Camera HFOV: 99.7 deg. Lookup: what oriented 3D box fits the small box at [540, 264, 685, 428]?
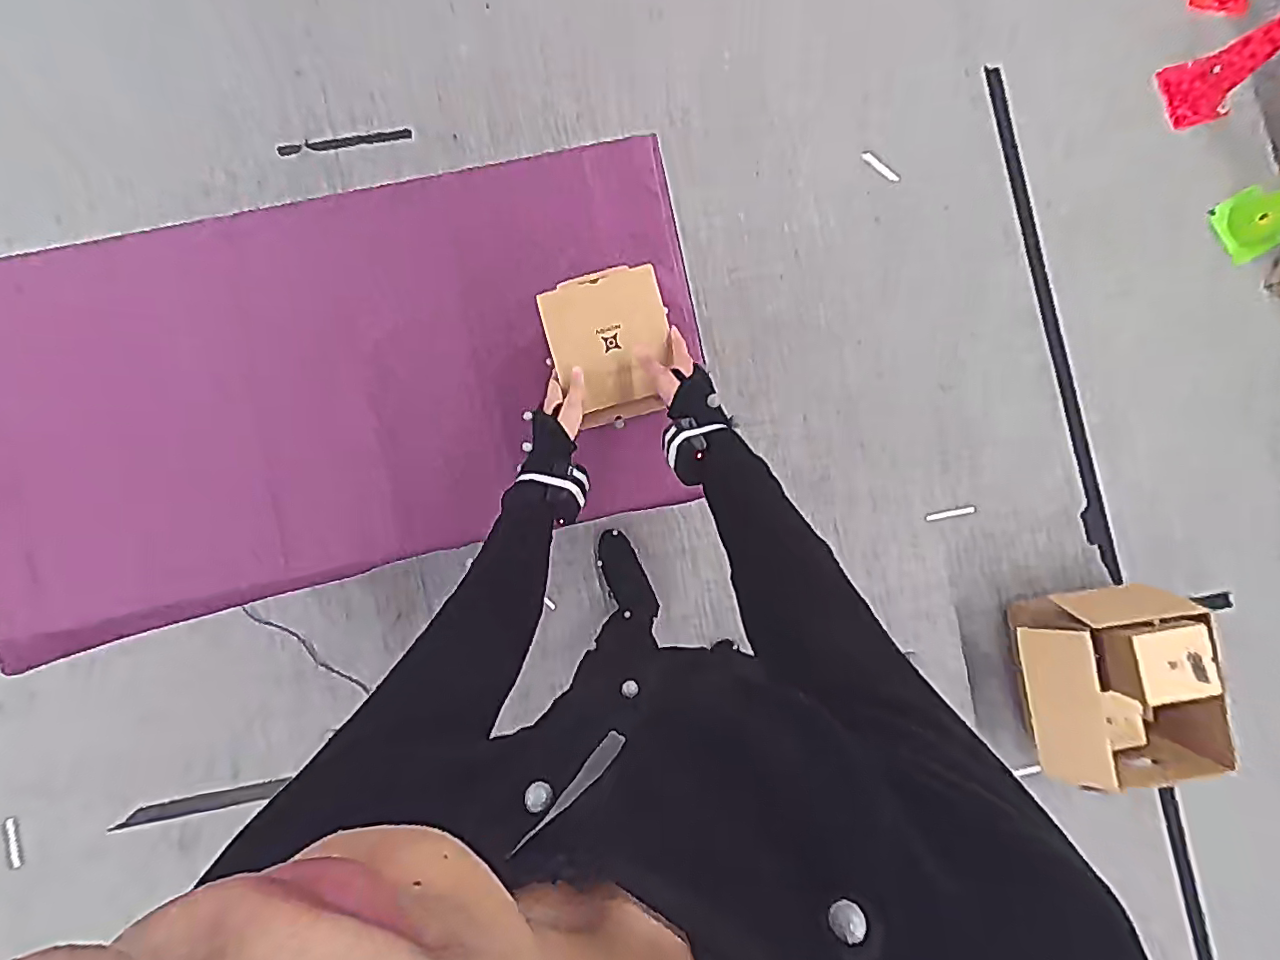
[{"bbox_3d":[-0.039,-0.189,0.811,0.168,0.176,0.179,-15,89,-1],"label":"small box"}]
